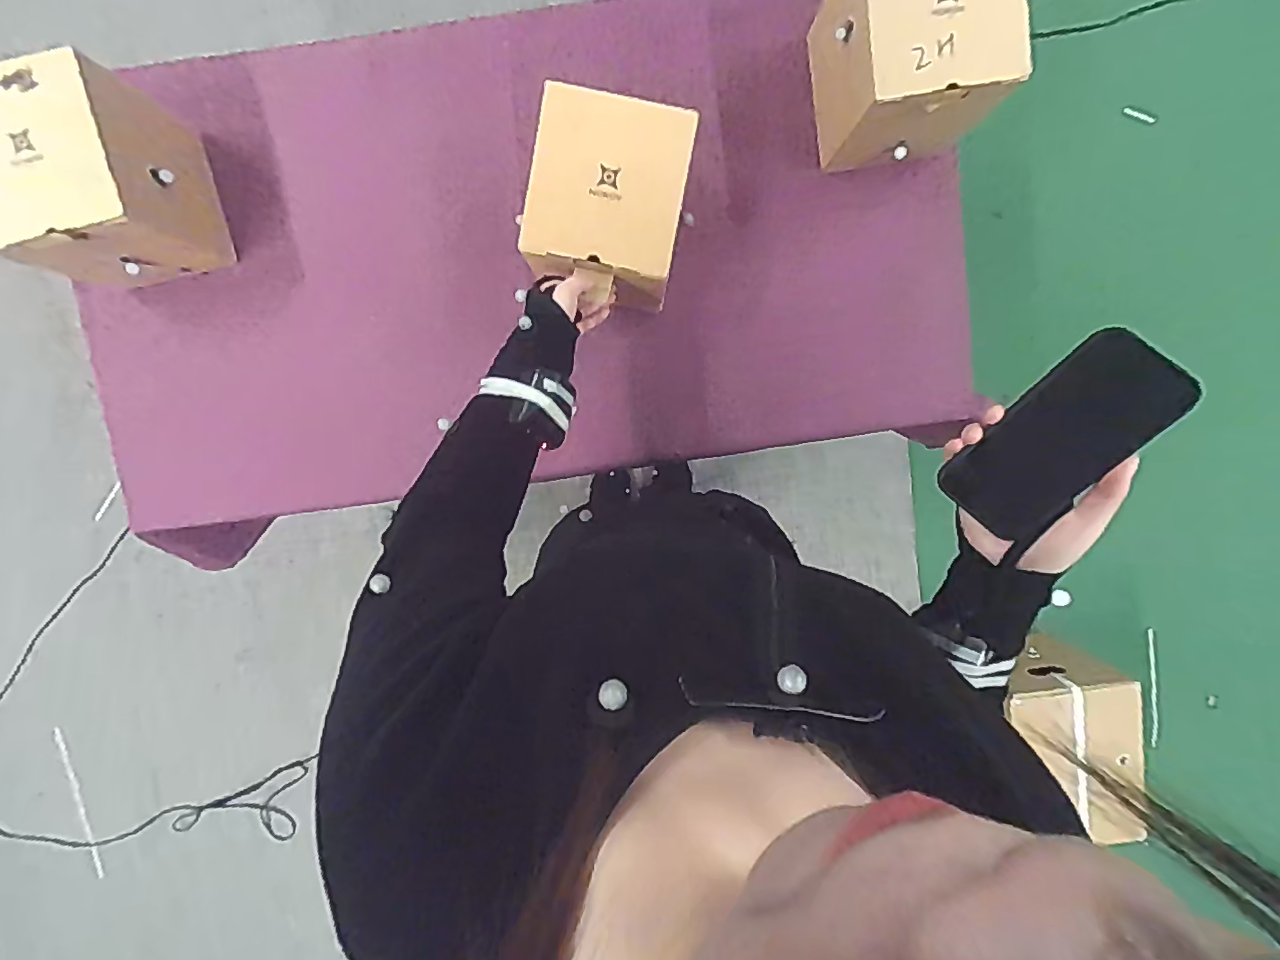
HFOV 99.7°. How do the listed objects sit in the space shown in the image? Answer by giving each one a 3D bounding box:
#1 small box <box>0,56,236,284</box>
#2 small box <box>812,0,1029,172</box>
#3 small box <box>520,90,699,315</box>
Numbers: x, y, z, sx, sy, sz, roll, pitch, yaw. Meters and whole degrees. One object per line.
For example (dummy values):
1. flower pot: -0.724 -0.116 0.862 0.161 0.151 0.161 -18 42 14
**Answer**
1. small box: -0.636 -0.347 0.647 0.168 0.176 0.179 -13 97 0
2. small box: 0.312 -0.499 0.634 0.168 0.176 0.179 -8 96 2
3. small box: -0.034 -0.317 0.655 0.168 0.176 0.179 11 96 -1
